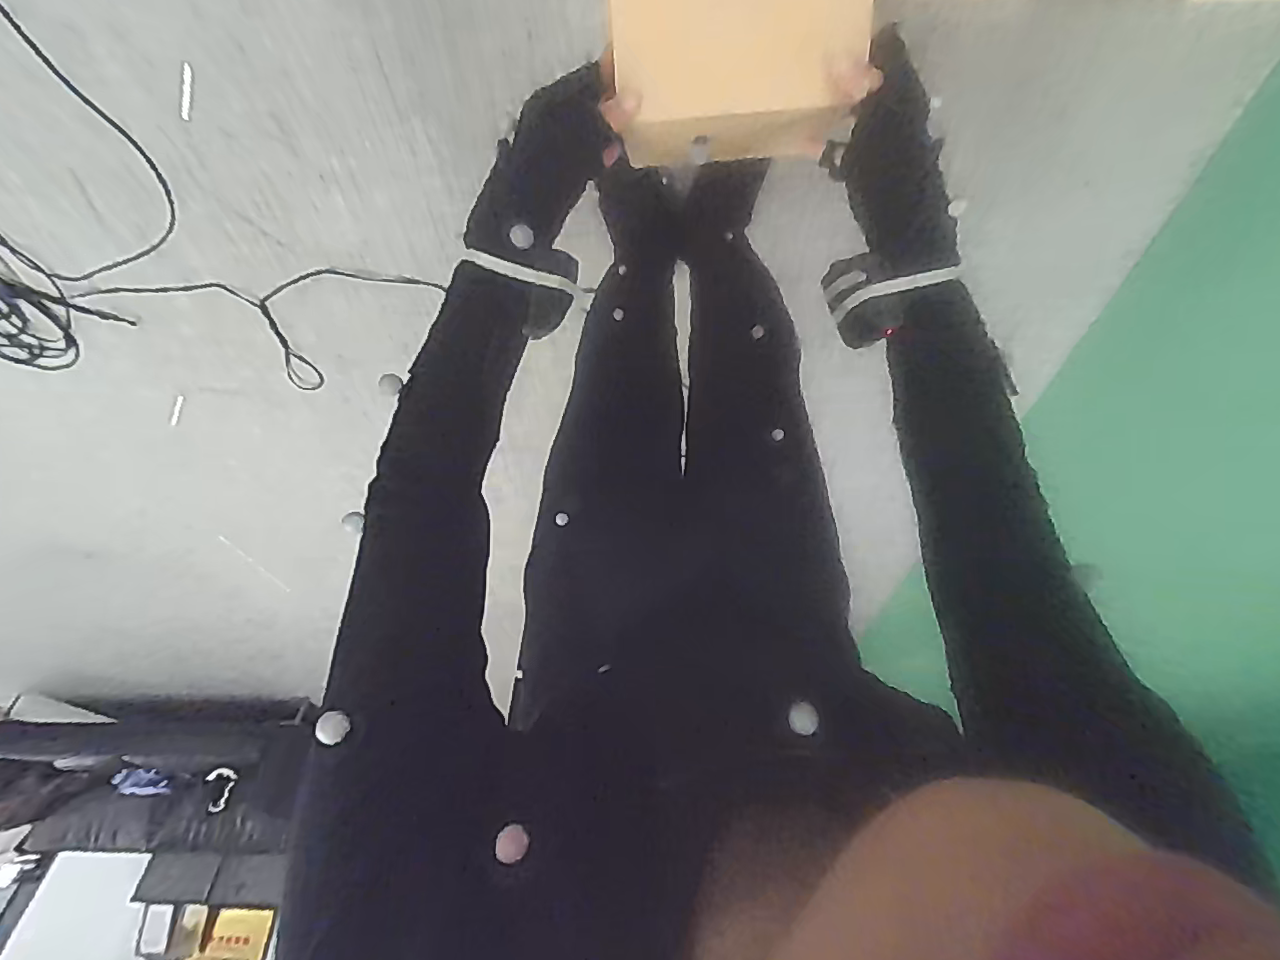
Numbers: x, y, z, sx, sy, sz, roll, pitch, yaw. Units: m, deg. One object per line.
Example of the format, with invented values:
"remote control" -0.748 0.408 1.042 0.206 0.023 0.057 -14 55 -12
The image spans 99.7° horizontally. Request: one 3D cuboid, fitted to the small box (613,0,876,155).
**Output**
"small box" 0.069 -0.357 0.402 0.168 0.176 0.179 -3 110 5
